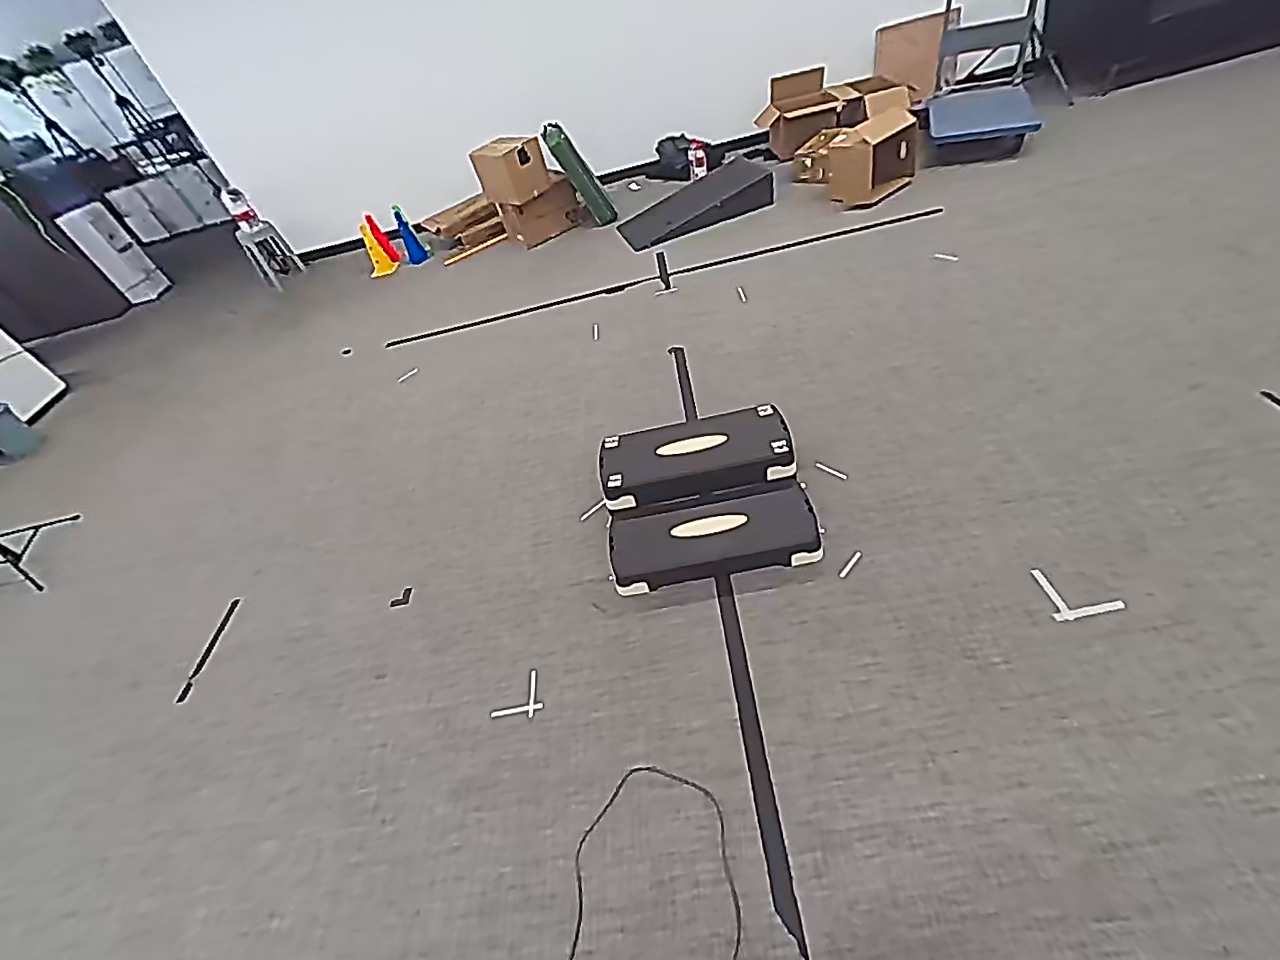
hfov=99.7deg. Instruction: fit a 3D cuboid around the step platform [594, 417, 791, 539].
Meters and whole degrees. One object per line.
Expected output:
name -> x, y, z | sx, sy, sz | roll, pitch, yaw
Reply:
step platform -> 0.179, -0.013, 1.926 | 0.684, 0.204, 0.286 | -12, 45, 4
